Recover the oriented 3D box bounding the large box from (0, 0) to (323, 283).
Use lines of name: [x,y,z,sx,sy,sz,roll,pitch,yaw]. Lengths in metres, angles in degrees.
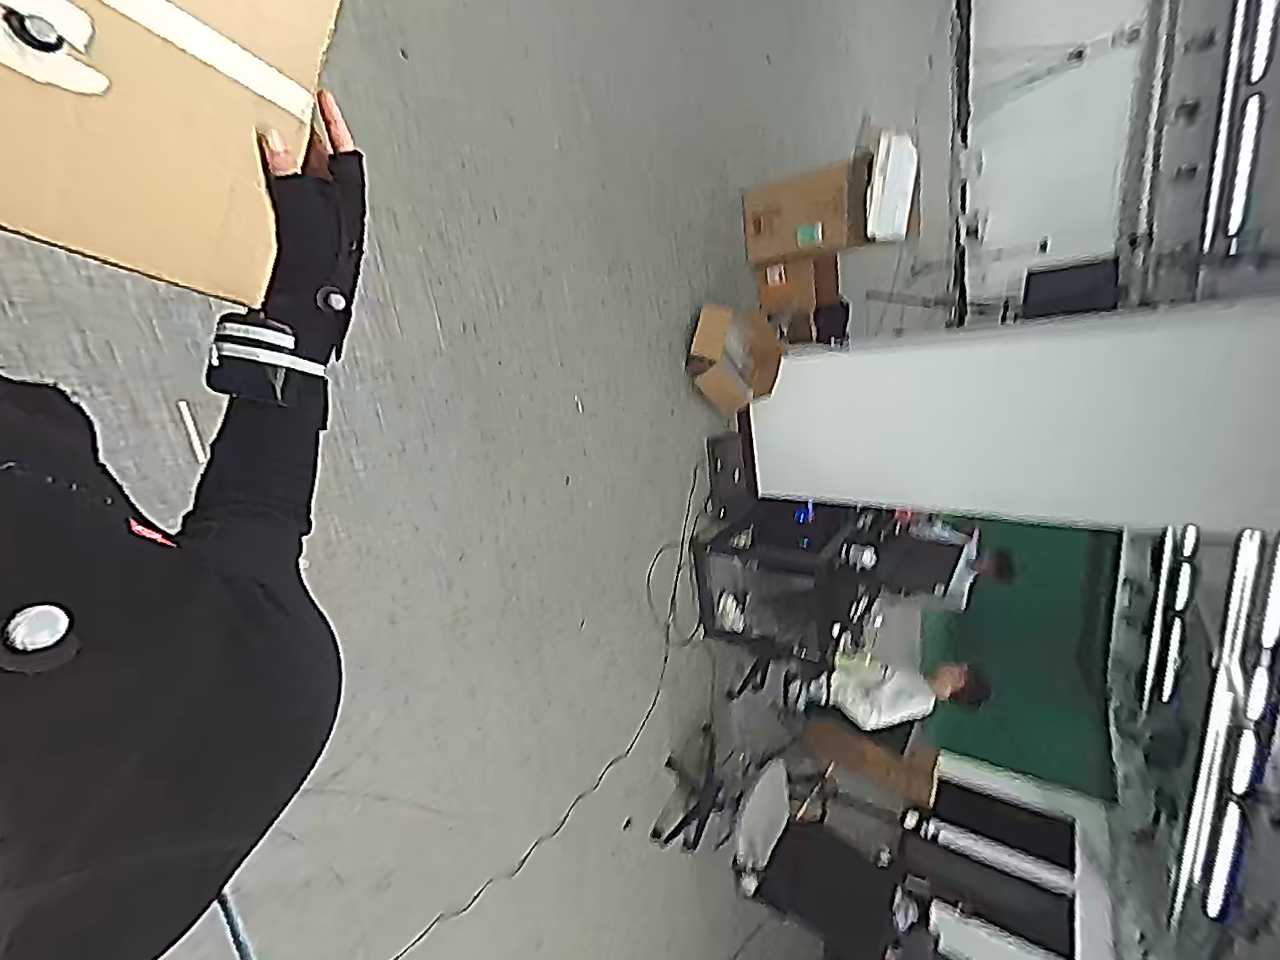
large box: [-0.491,-0.361,0.347,0.408,0.320,0.320,10,101,-53]
